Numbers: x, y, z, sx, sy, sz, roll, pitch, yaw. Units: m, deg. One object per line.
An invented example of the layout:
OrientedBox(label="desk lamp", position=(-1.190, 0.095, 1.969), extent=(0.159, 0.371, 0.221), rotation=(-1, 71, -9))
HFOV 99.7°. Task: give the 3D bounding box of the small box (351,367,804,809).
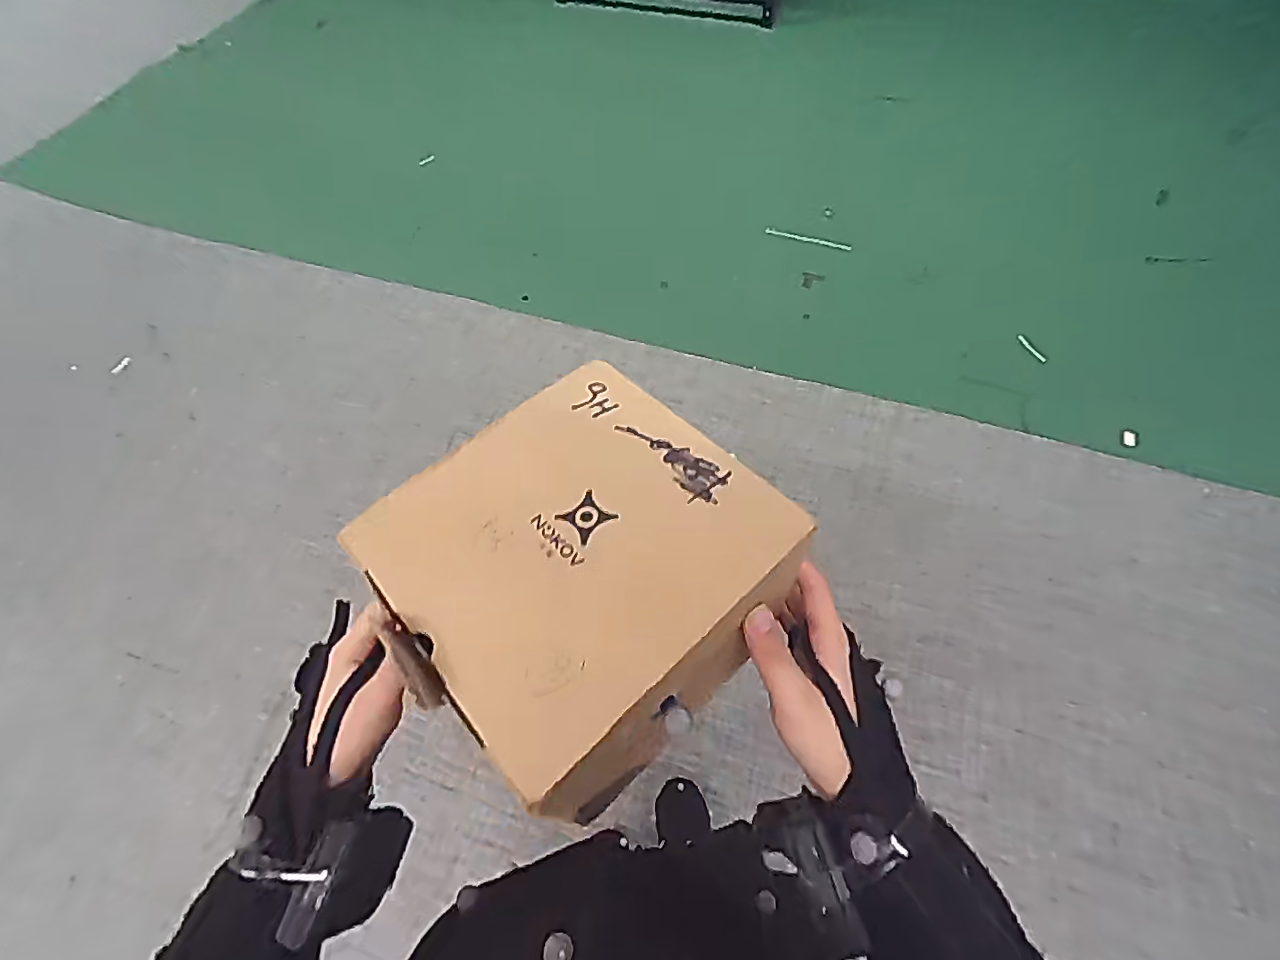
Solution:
OrientedBox(label="small box", position=(-0.029, 0.071, 0.336), extent=(0.179, 0.176, 0.168), rotation=(-38, 62, -21))
